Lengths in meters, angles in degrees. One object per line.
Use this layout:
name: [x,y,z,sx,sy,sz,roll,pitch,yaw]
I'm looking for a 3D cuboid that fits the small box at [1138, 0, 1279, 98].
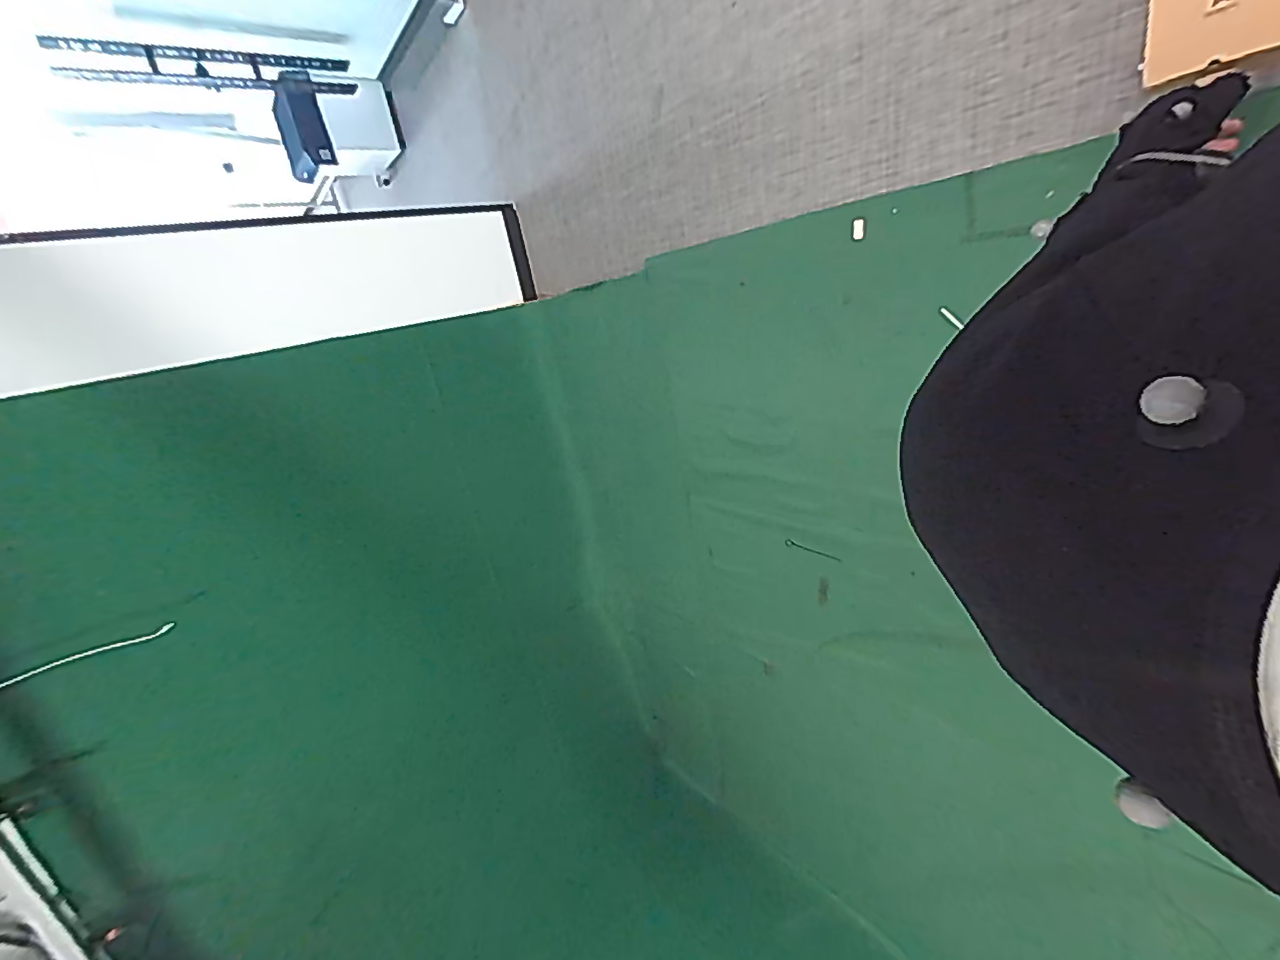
small box: [0.924,-0.739,0.857,0.168,0.176,0.179,11,118,51]
